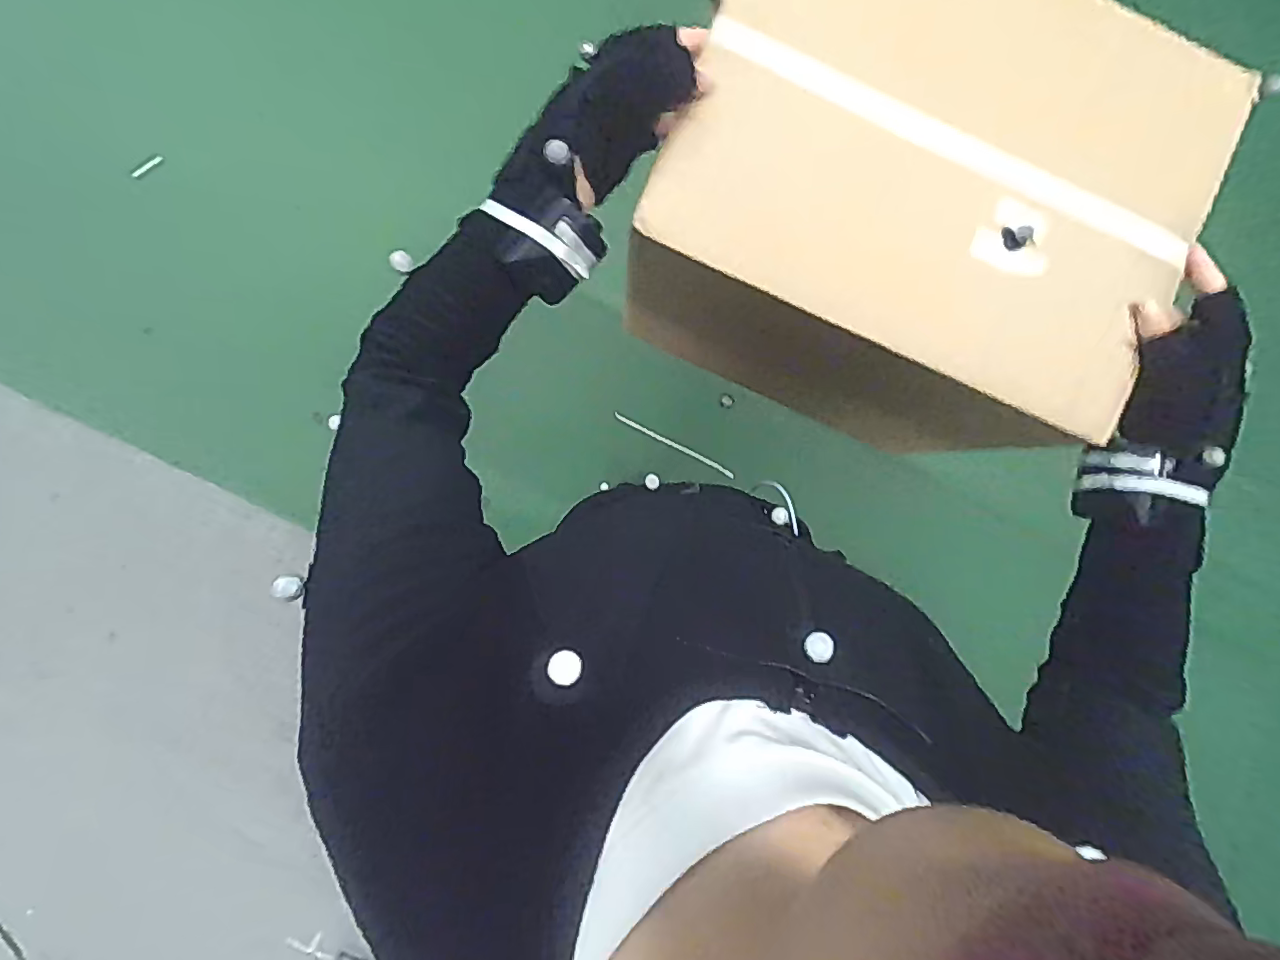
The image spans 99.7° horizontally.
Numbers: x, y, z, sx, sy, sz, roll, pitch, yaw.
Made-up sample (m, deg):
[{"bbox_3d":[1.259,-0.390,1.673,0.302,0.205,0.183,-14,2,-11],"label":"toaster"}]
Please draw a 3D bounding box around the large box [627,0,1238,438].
[{"bbox_3d":[0.226,-0.264,0.566,0.408,0.320,0.320,23,91,-3],"label":"large box"}]
